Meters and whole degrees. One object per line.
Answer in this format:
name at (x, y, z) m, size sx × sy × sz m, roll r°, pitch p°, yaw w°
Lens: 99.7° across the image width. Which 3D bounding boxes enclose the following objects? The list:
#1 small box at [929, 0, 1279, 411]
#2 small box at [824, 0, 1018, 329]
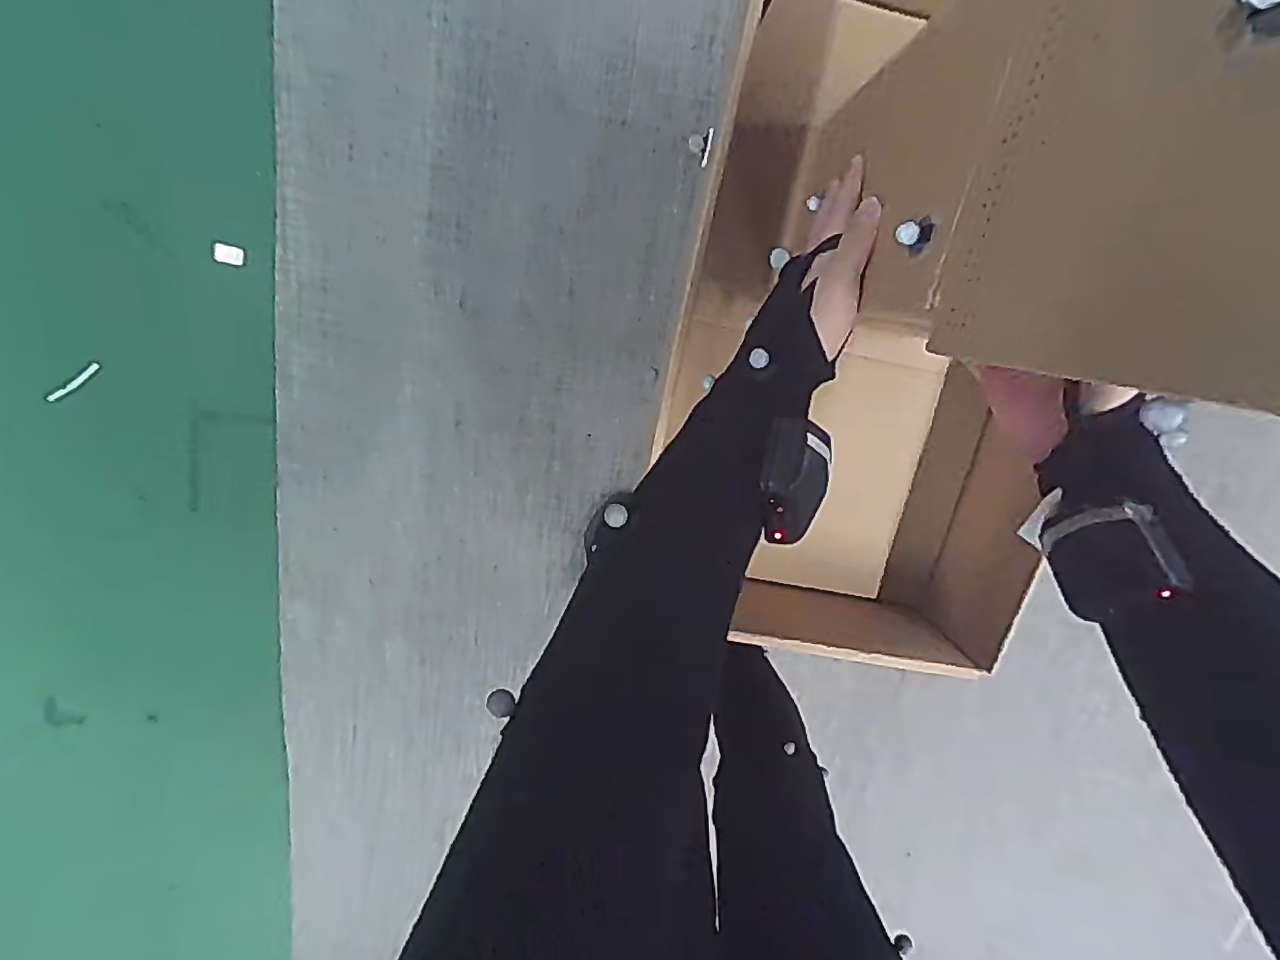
small box at (0.227, -0.112, 0.171) m, size 0.168 × 0.176 × 0.179 m, roll 7°, pitch 109°, yaw -2°
small box at (0.230, -0.178, 0.323) m, size 0.168 × 0.176 × 0.179 m, roll 9°, pitch 109°, yaw -3°
